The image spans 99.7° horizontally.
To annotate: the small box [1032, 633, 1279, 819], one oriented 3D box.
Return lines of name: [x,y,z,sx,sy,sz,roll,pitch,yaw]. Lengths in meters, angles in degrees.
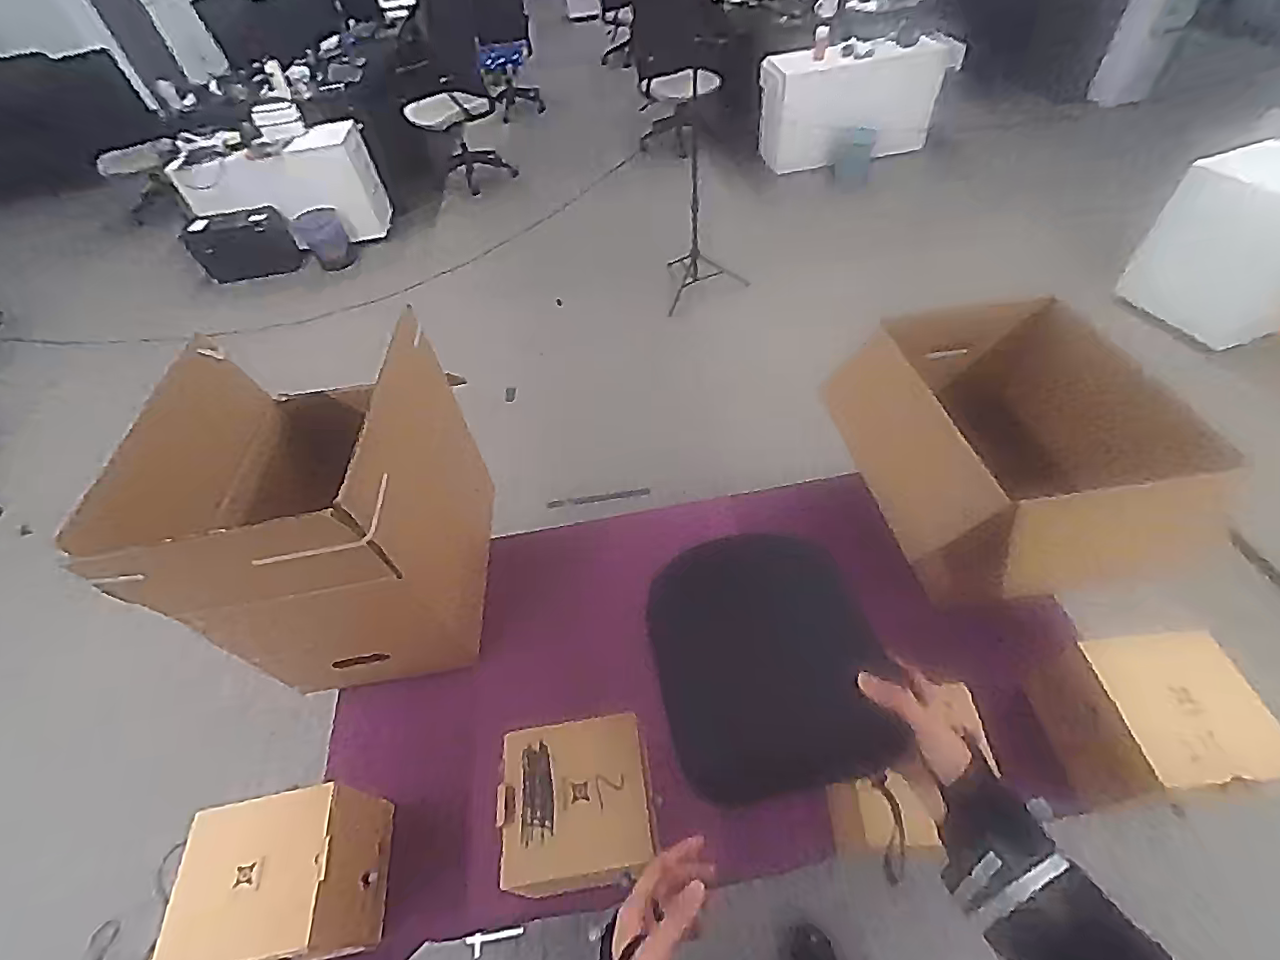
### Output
small box: [0.663,0.322,0.705,0.168,0.176,0.179,-7,49,3]

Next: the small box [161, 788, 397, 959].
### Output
small box: [-0.439,0.517,0.688,0.179,0.176,0.168,-11,50,-3]
